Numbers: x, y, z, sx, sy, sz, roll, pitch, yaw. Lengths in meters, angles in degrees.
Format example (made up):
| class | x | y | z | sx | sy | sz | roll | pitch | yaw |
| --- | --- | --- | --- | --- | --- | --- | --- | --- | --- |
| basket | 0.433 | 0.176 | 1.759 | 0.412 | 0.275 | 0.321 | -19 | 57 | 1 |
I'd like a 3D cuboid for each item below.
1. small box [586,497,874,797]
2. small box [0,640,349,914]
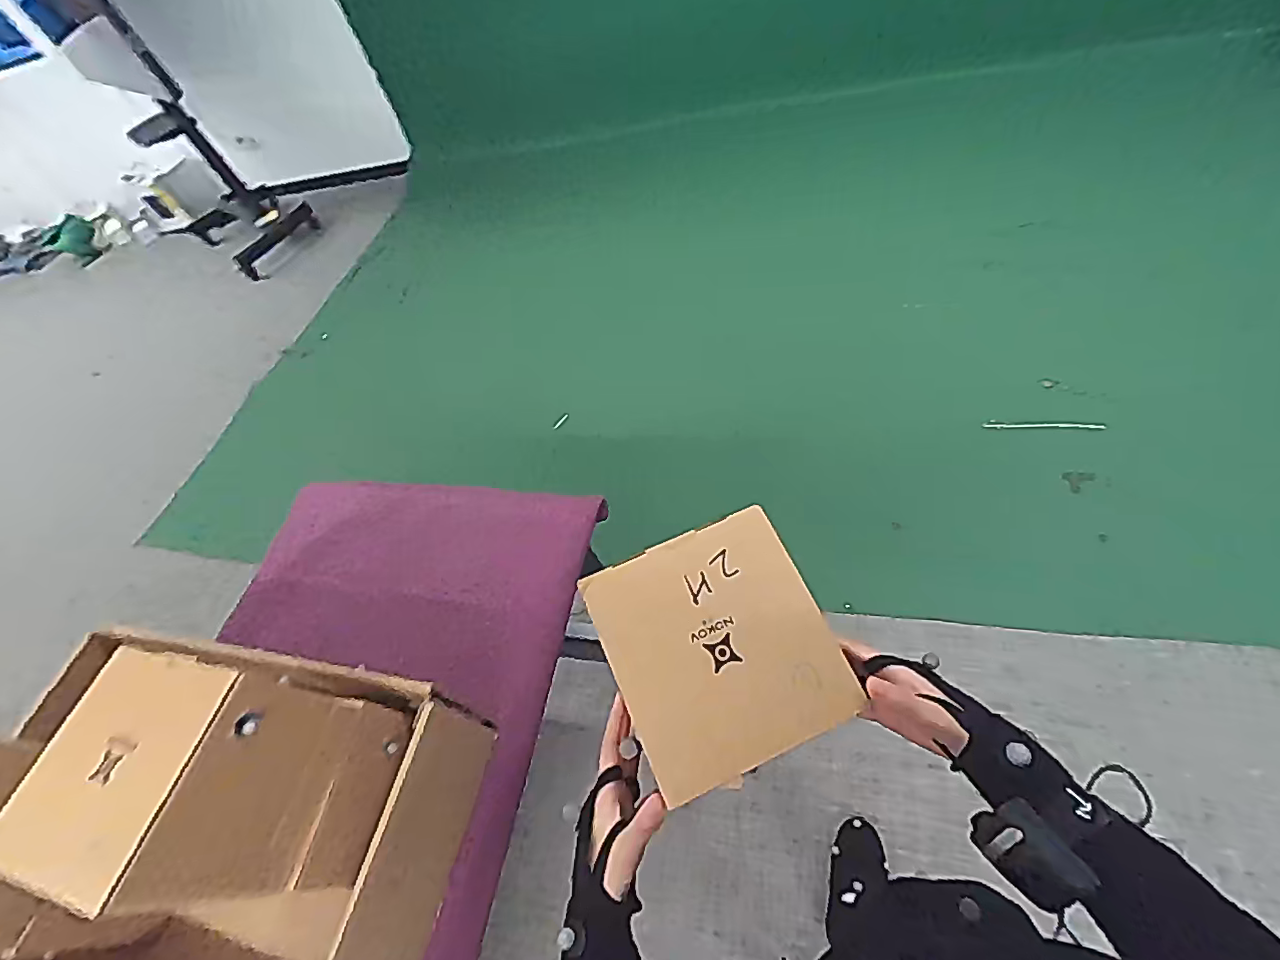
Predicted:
| class | x | y | z | sx | sy | sz | roll | pitch | yaw |
| --- | --- | --- | --- | --- | --- | --- | --- | --- | --- |
| small box | 0.065 | 0.144 | 0.481 | 0.168 | 0.176 | 0.179 | -21 | 69 | -9 |
| small box | -0.419 | 0.272 | 0.508 | 0.168 | 0.176 | 0.179 | 2 | 56 | 18 |
